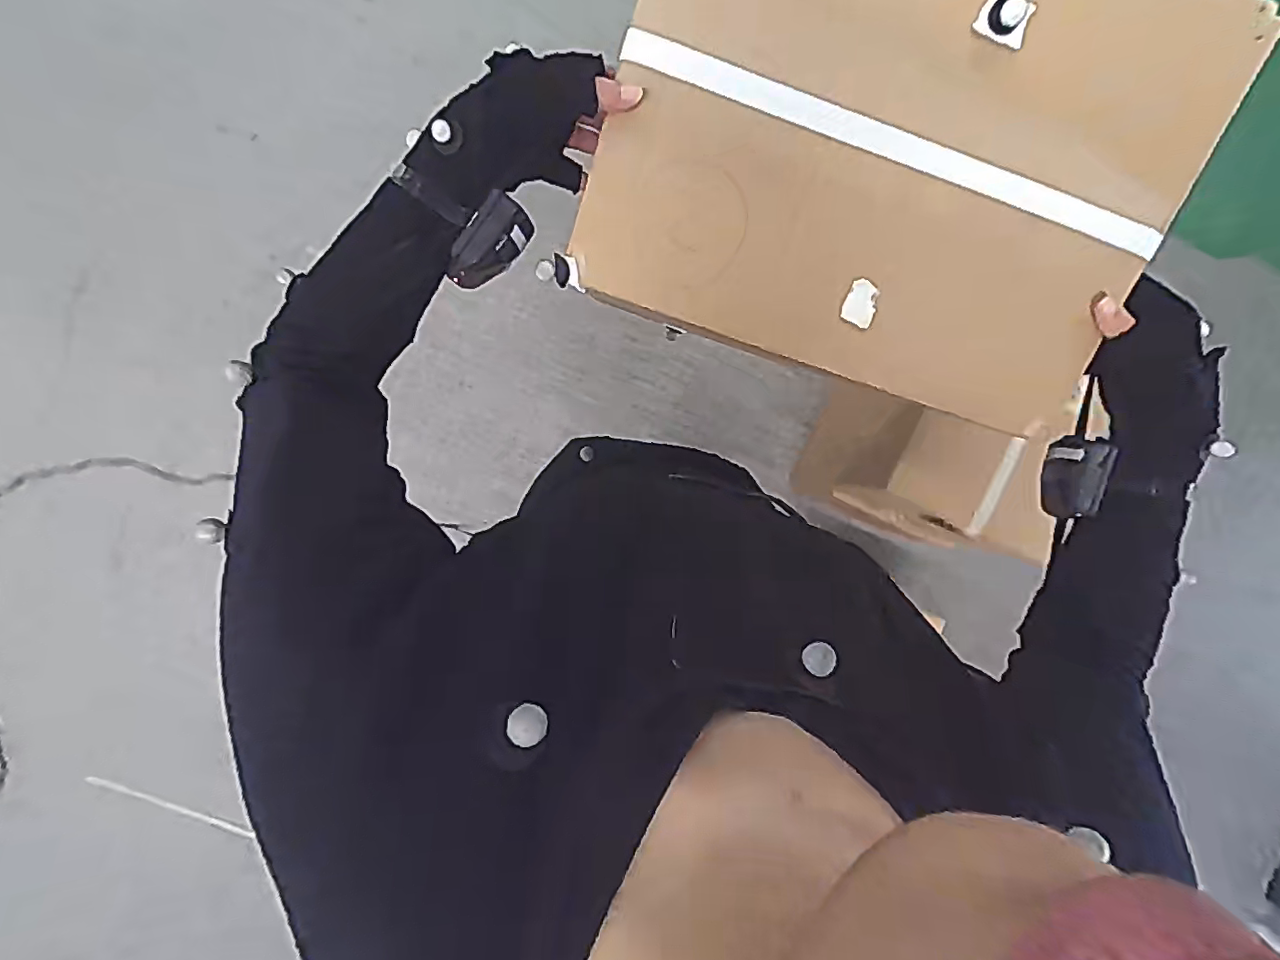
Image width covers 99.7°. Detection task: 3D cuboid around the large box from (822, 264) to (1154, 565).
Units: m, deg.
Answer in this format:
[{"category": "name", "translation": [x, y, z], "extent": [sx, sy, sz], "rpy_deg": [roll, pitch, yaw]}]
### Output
[{"category": "large box", "translation": [0.603, -0.104, 1.012], "extent": [0.320, 0.320, 0.408], "rpy_deg": [26, 91, -1]}]
